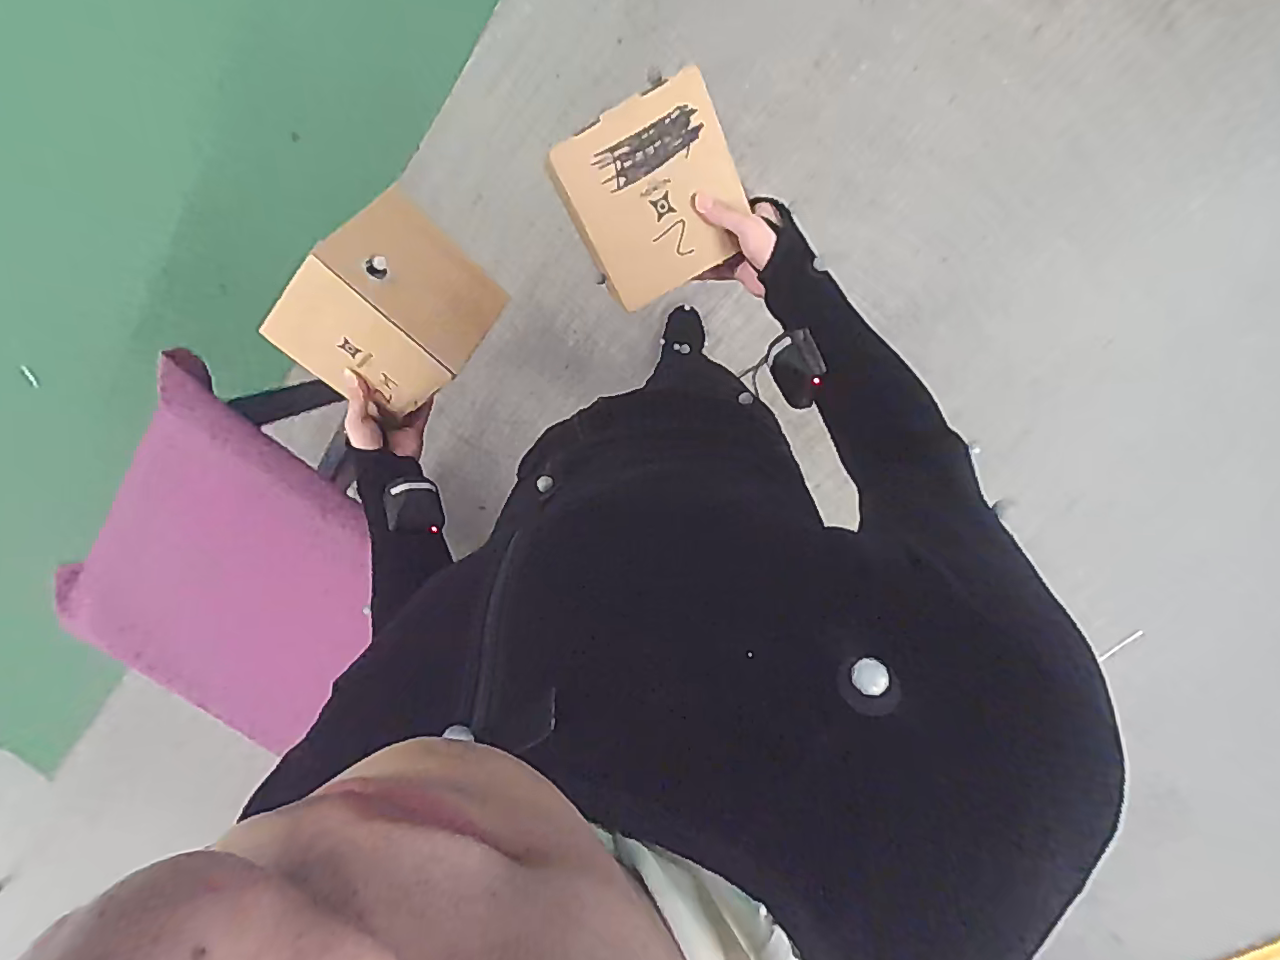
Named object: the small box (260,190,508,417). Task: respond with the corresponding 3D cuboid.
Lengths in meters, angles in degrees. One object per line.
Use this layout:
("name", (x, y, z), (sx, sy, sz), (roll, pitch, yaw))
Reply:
("small box", (-0.294, -0.213, 0.649), (0.168, 0.176, 0.179), (-20, 128, 38))
